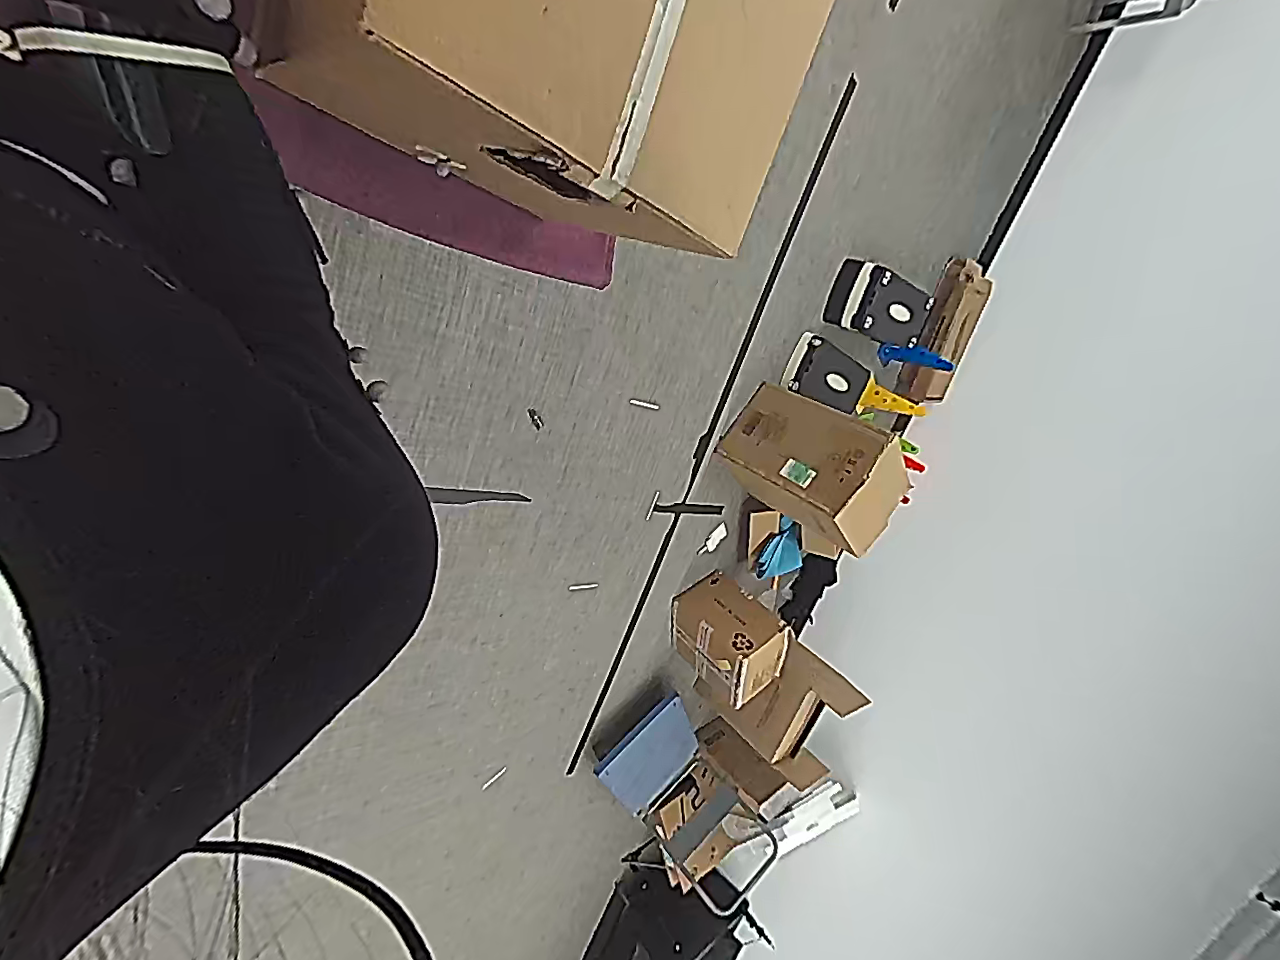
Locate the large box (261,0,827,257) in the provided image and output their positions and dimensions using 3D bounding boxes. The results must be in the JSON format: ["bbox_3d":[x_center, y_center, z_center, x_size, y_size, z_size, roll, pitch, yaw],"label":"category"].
[{"bbox_3d":[-0.056,-0.439,0.412,0.320,0.320,0.408,4,111,-48],"label":"large box"}]
